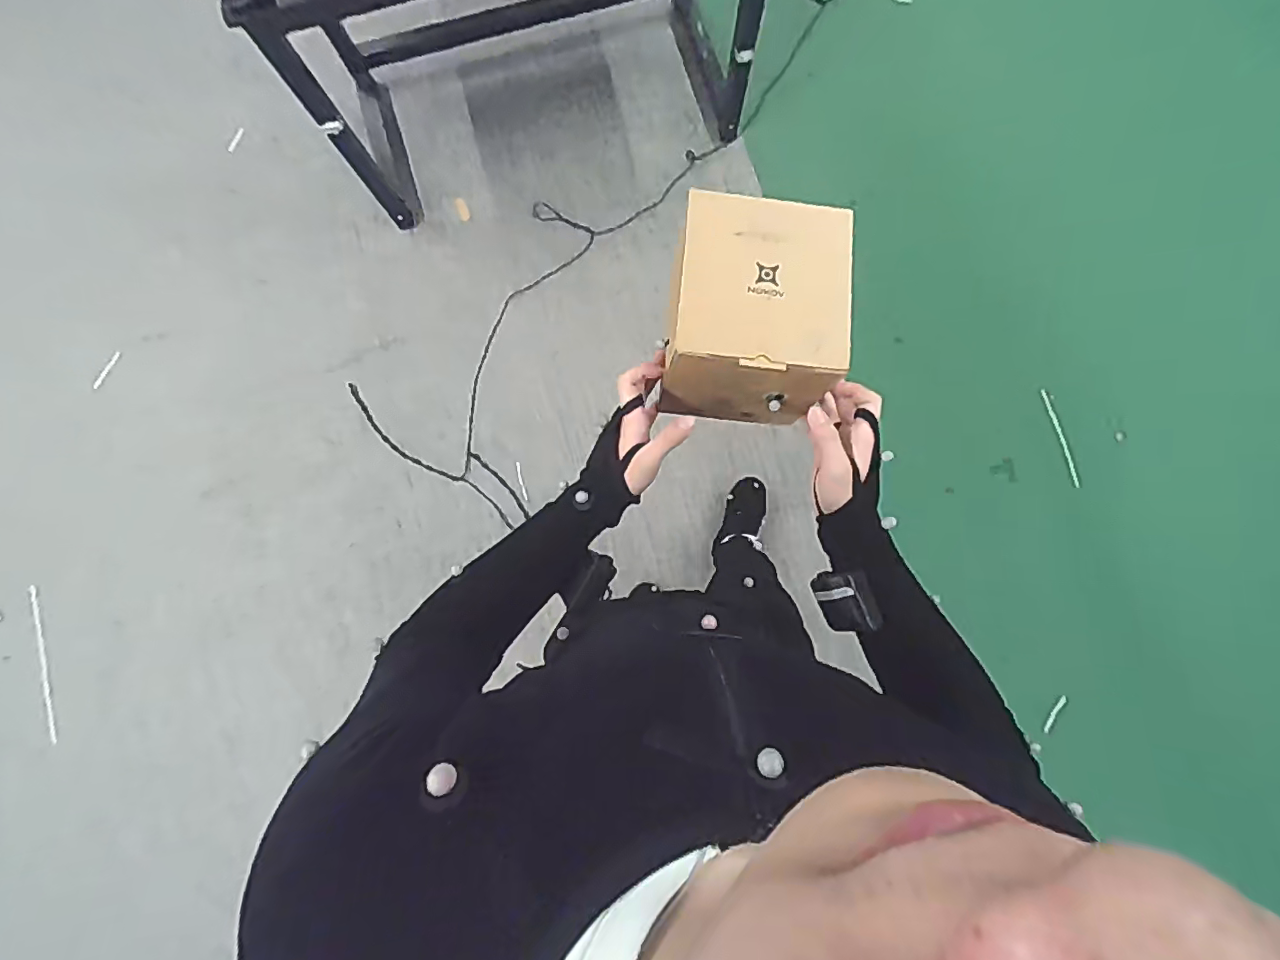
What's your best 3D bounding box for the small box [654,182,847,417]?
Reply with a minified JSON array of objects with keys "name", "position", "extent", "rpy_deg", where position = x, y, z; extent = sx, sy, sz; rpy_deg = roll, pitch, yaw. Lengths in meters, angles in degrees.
[{"name":"small box","position":[0.108,-0.181,0.590],"extent":[0.168,0.176,0.179],"rpy_deg":[7,78,-2]}]
